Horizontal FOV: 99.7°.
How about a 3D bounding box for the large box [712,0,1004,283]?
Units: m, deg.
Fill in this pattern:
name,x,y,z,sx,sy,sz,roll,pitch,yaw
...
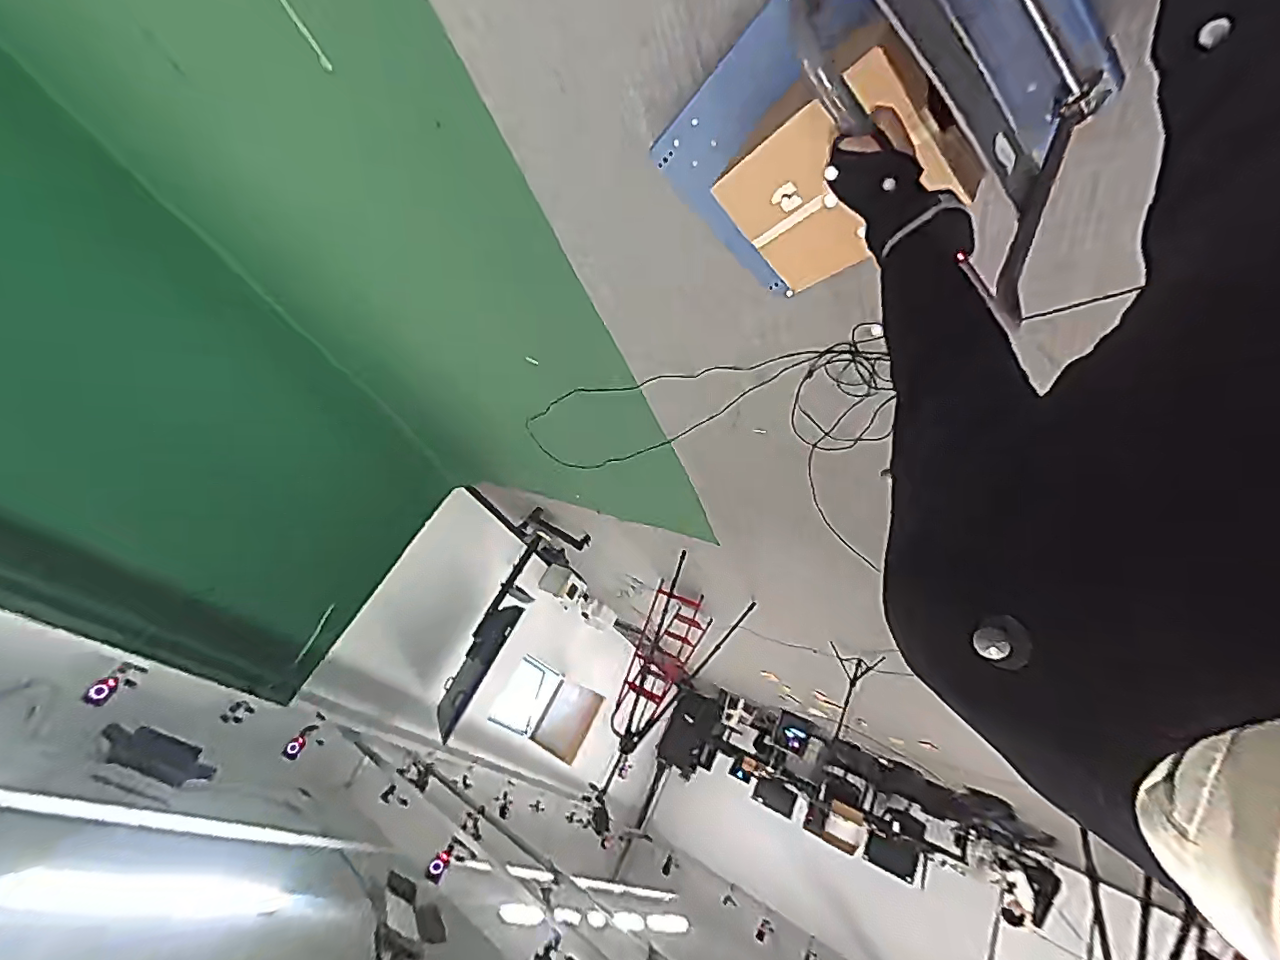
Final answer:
name,x,y,z,sx,sy,sz,roll,pitch,yaw
large box,0.428,-0.689,1.095,0.320,0.320,0.408,39,155,-22
